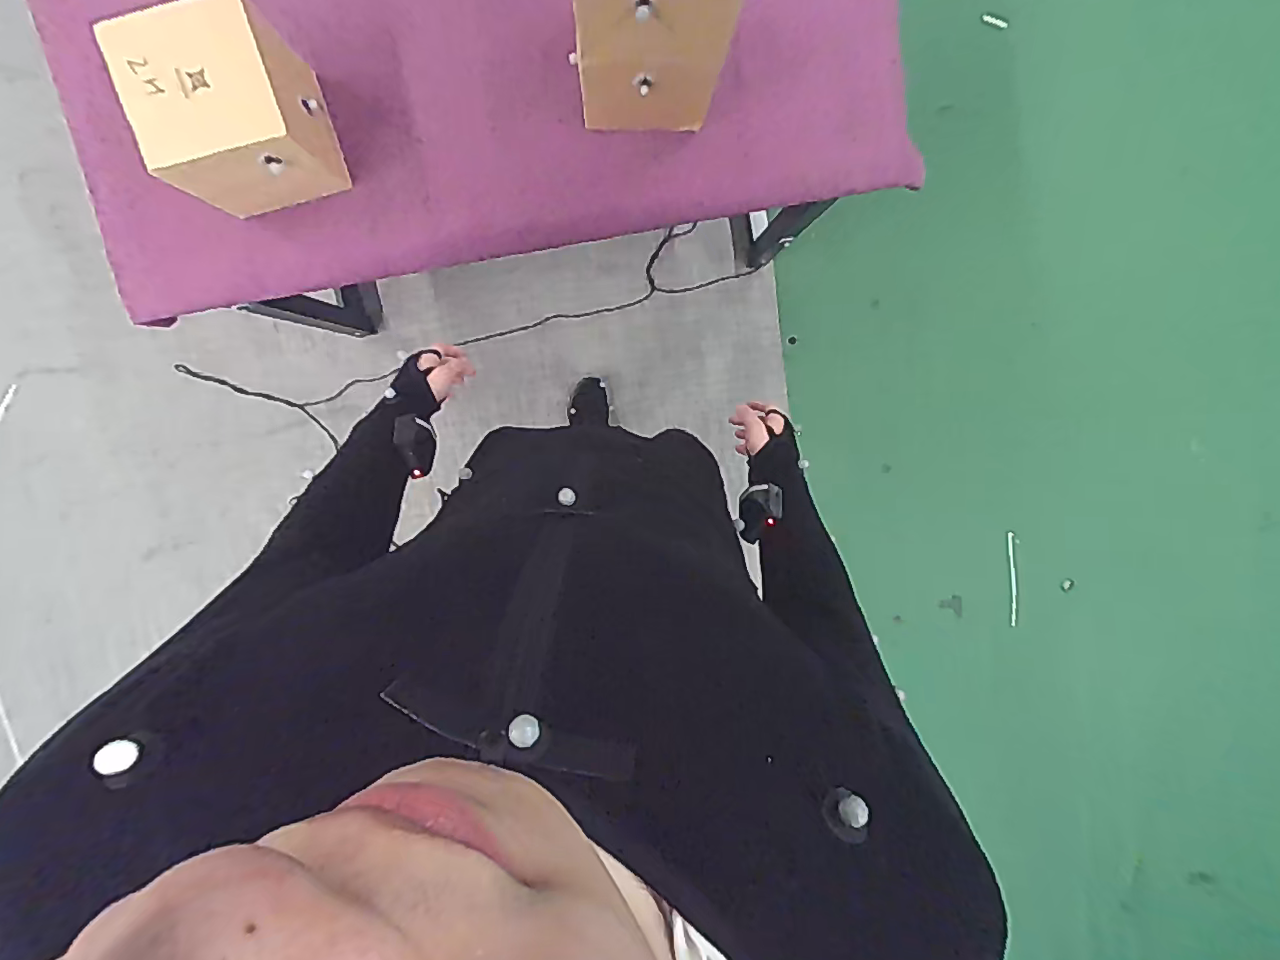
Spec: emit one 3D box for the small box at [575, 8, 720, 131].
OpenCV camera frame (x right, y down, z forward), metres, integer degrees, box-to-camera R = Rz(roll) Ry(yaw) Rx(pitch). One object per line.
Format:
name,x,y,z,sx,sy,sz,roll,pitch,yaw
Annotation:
small box,0.008,-0.590,0.715,0.179,0.176,0.168,0,99,-3

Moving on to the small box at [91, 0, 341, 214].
small box,-0.525,-0.474,0.706,0.179,0.176,0.168,-15,99,0

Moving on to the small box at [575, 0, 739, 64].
small box,0.016,-0.564,0.554,0.179,0.176,0.168,-3,100,-1
